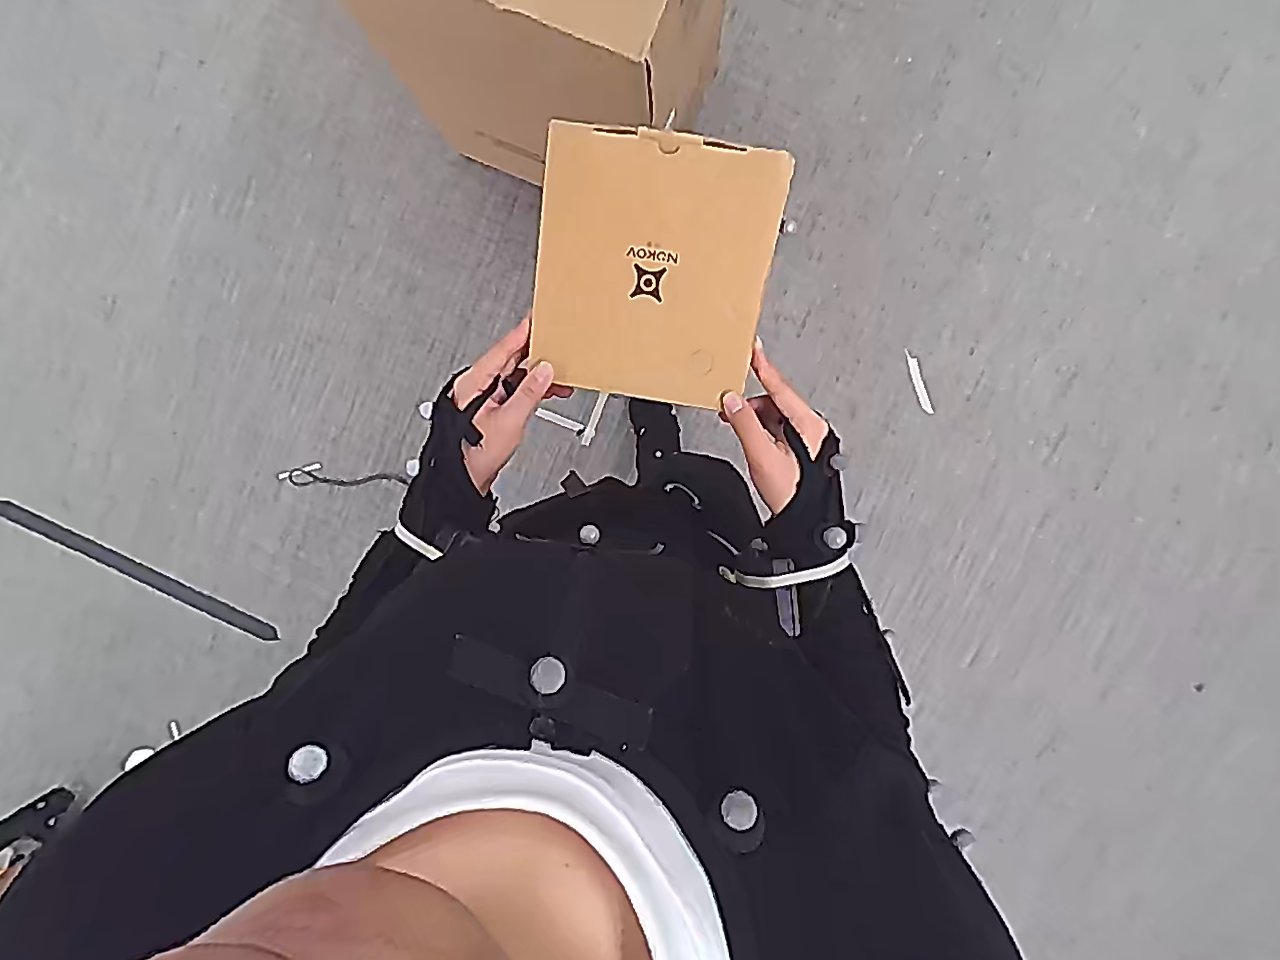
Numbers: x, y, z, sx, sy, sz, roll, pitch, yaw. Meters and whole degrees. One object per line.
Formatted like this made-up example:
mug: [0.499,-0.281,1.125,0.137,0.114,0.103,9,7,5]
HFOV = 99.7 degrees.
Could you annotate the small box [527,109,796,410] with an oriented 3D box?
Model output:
small box: [0.017,-0.168,0.446,0.168,0.176,0.179,10,107,4]
